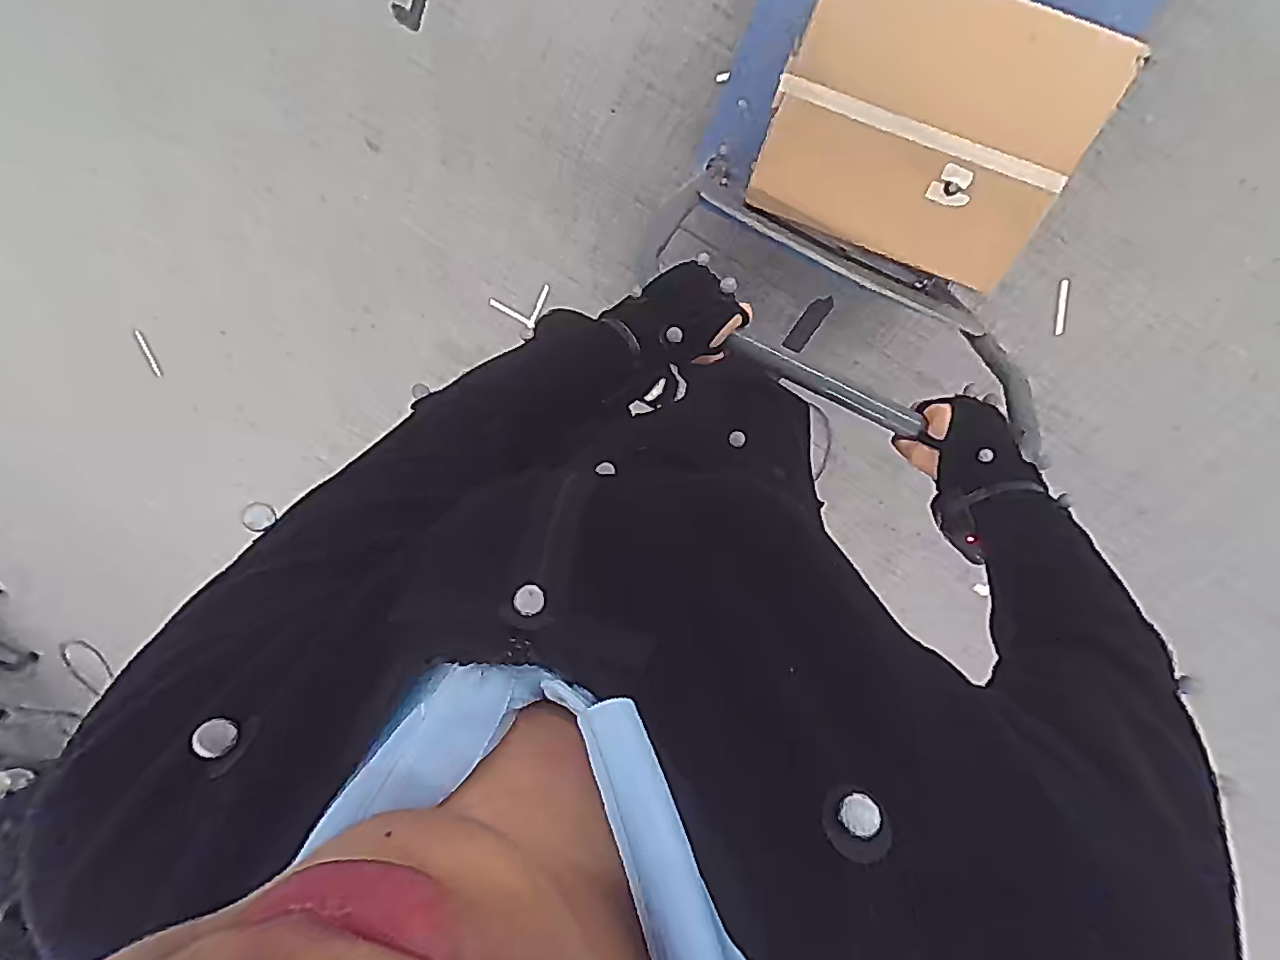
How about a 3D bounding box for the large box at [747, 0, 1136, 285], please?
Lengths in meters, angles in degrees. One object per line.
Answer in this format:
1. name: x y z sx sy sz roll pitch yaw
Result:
1. large box: 0.418 -0.561 0.880 0.408 0.320 0.320 20 124 0
